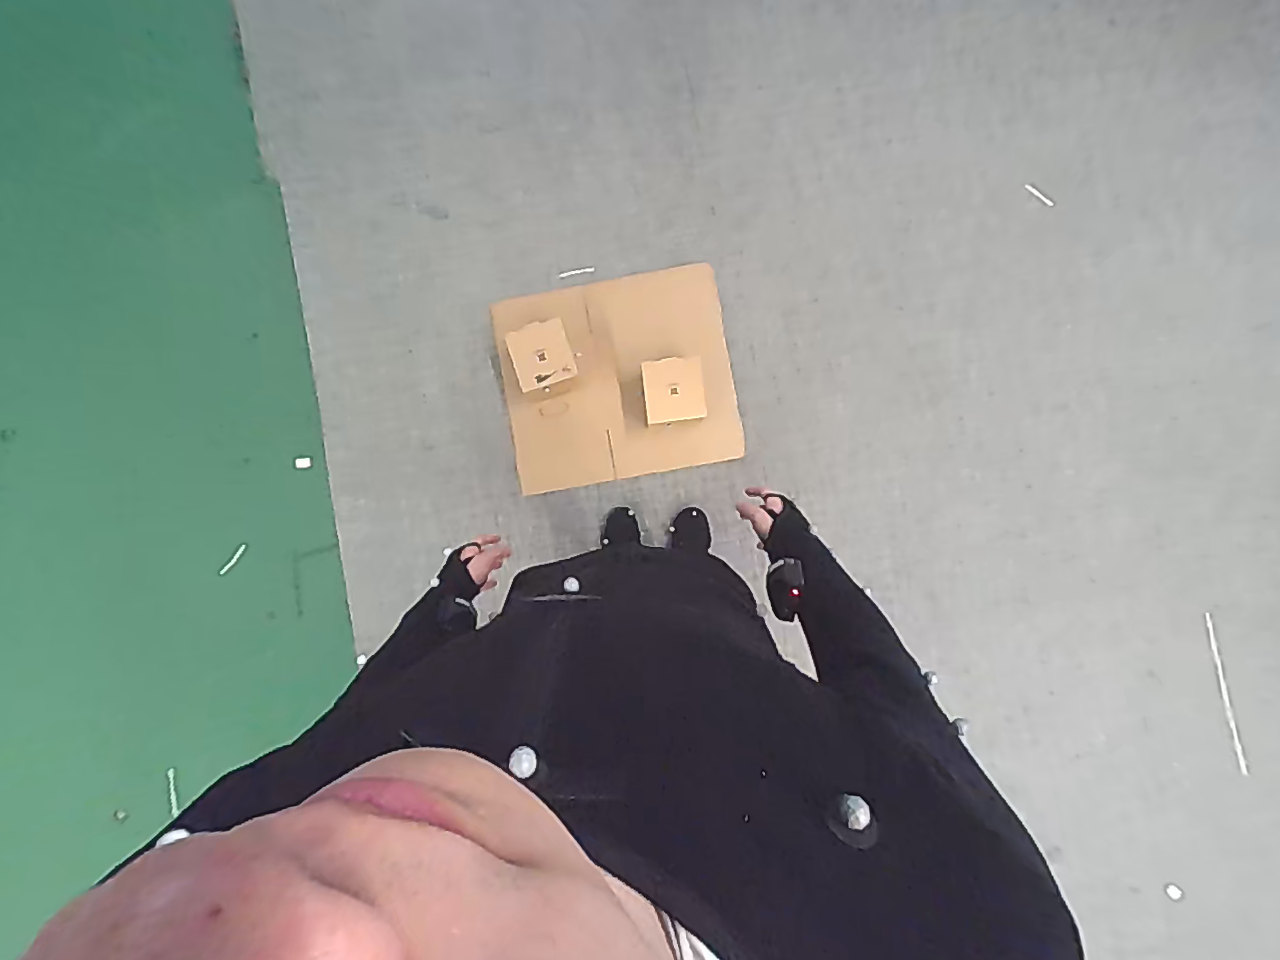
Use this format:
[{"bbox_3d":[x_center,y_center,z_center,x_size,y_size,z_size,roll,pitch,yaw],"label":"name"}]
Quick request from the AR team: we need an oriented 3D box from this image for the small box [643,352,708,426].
[{"bbox_3d":[0.101,-0.252,1.545,0.168,0.176,0.179,-7,88,3],"label":"small box"}]

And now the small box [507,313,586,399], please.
[{"bbox_3d":[-0.263,-0.352,1.562,0.168,0.176,0.179,-18,88,1],"label":"small box"}]
